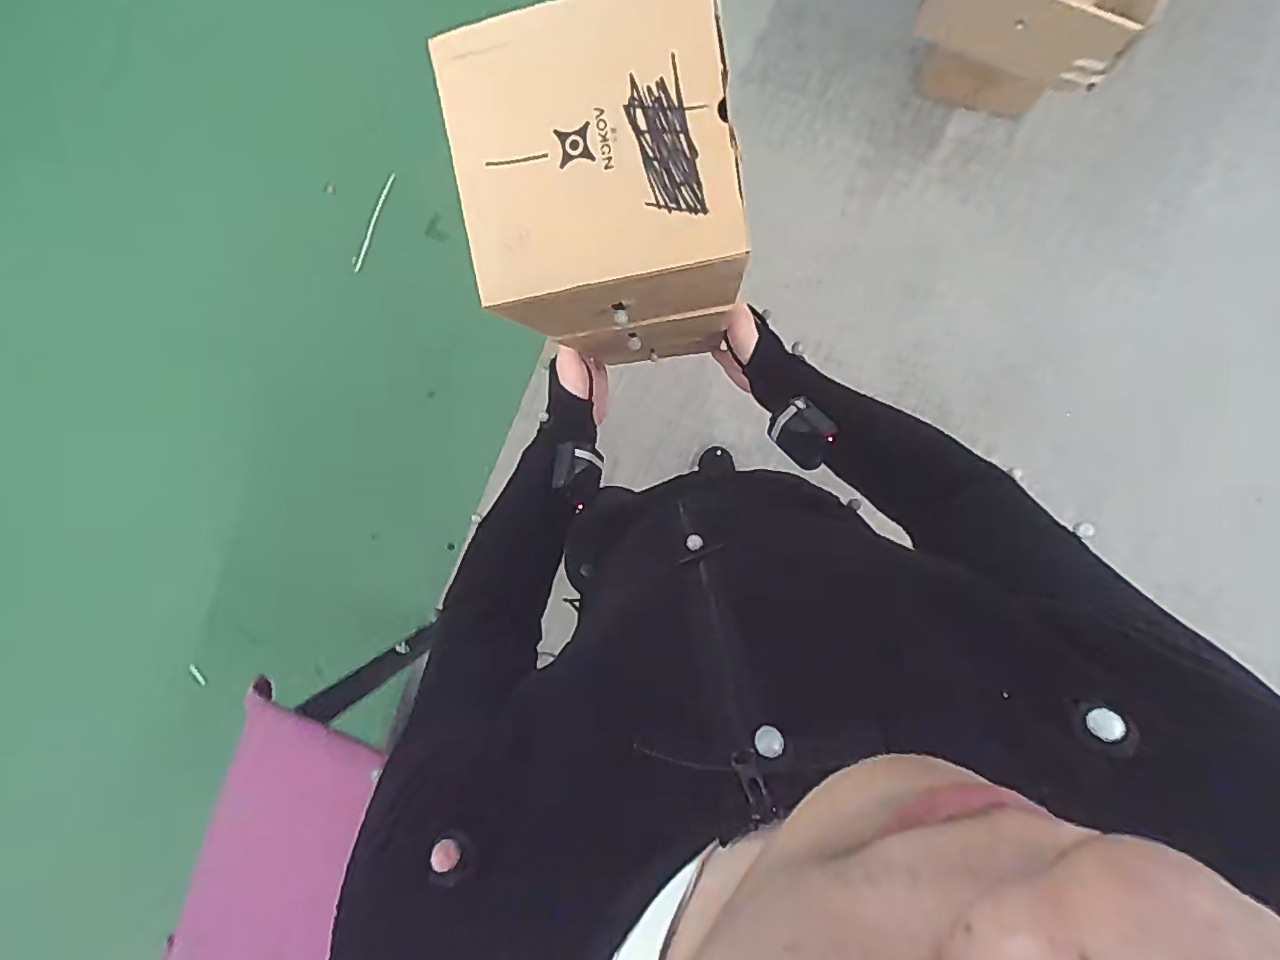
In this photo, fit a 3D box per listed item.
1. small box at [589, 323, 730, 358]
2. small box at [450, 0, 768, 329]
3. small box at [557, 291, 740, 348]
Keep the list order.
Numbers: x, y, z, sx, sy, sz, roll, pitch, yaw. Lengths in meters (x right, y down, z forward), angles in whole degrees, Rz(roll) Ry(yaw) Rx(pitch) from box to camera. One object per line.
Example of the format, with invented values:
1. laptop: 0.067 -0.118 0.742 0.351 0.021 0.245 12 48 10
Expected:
1. small box: 0.027 -0.260 0.727 0.179 0.176 0.168 -4 97 7
2. small box: -0.010 -0.216 0.404 0.179 0.176 0.168 -8 97 8
3. small box: 0.008 -0.238 0.566 0.179 0.176 0.168 -6 98 9
